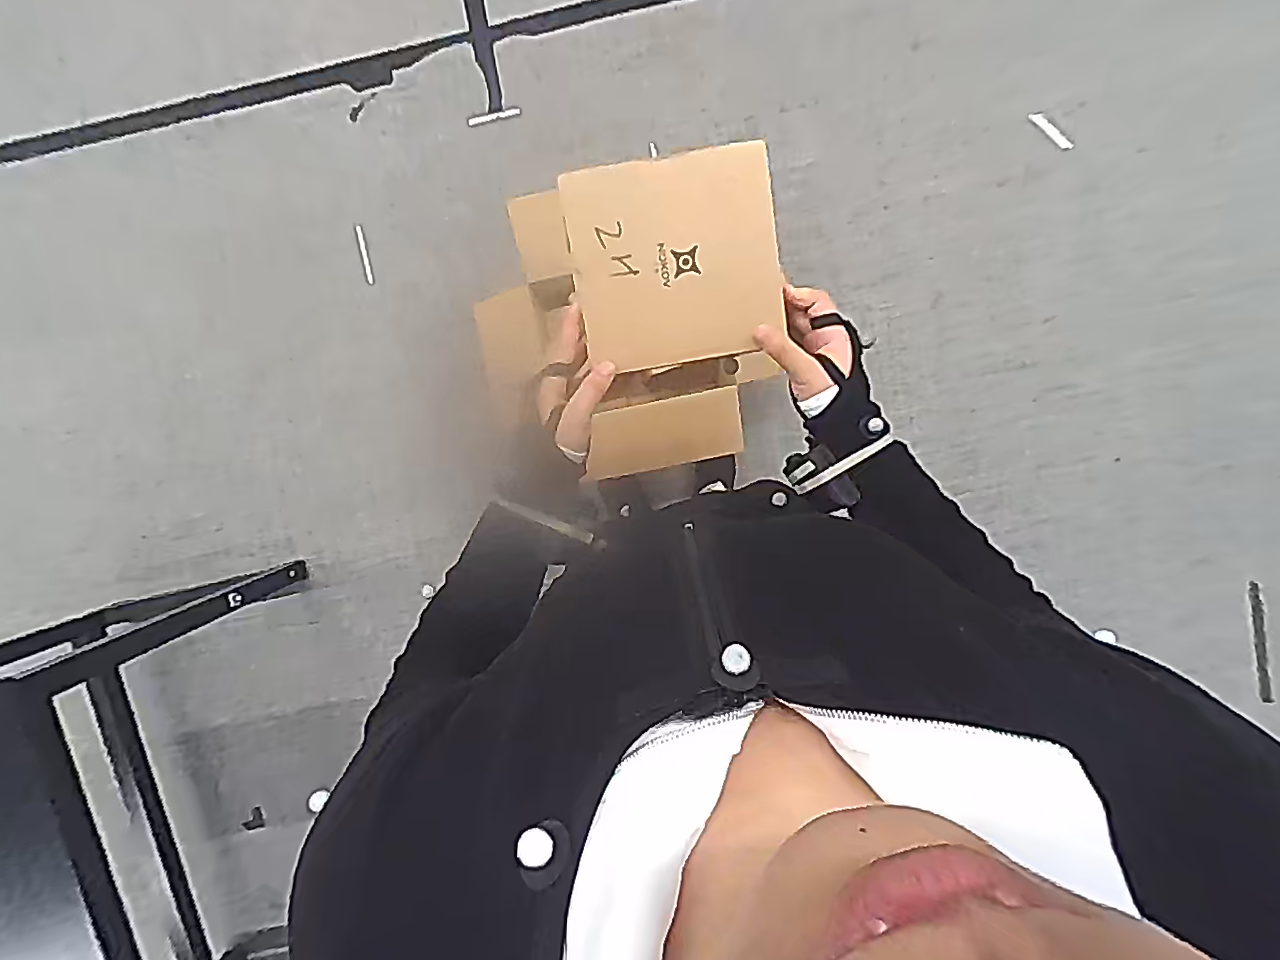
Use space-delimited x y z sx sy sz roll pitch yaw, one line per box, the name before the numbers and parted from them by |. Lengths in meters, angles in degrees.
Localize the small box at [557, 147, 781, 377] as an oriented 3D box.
small box | 0.025 -0.199 0.539 0.179 0.176 0.168 -10 101 1
